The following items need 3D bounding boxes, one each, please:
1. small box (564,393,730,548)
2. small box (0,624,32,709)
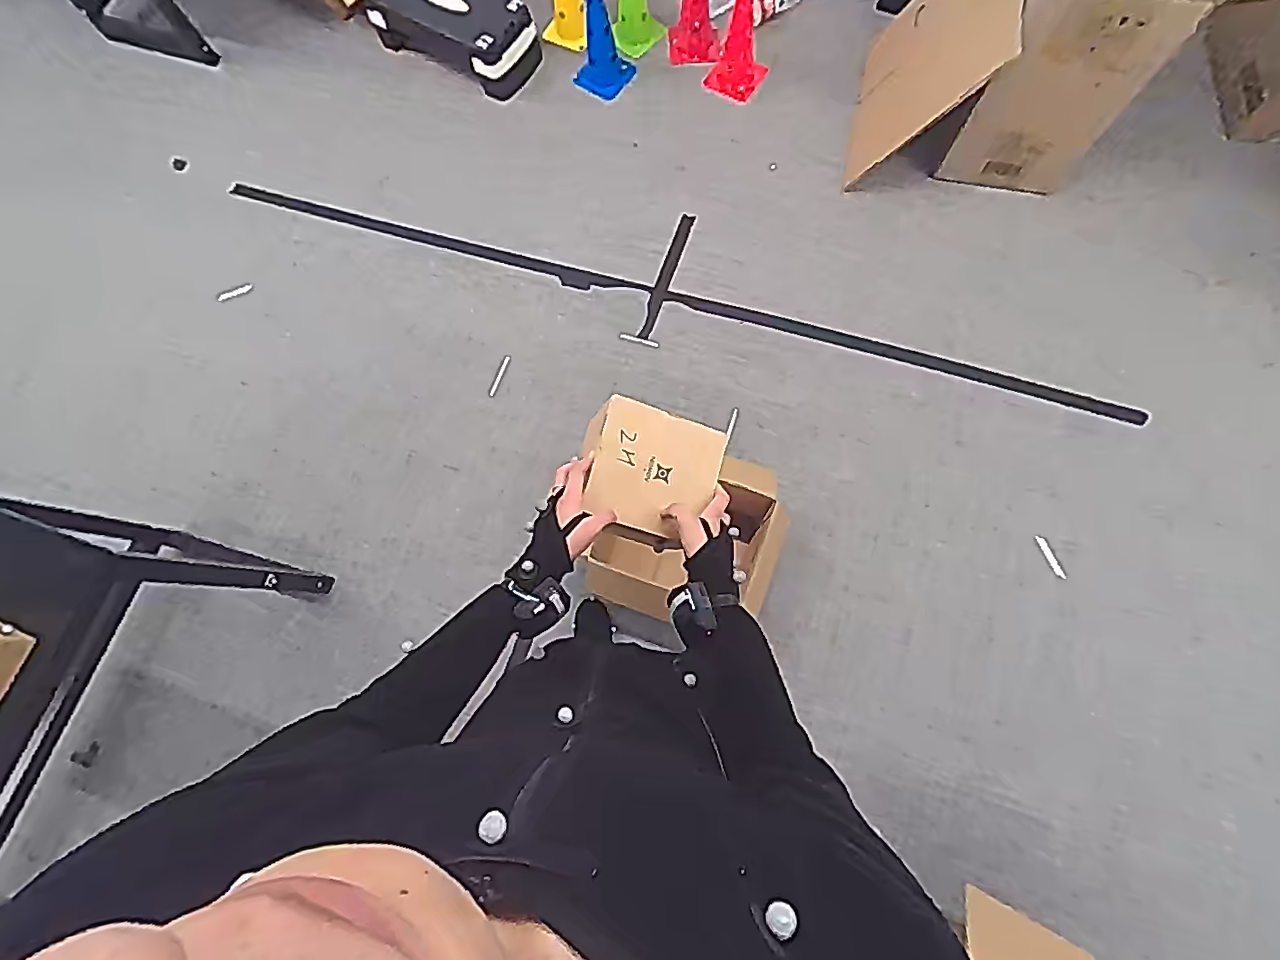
[{"bbox_3d":[0.003,-0.004,0.785,0.179,0.176,0.168,18,78,-12],"label":"small box"},{"bbox_3d":[-1.176,0.318,0.881,0.168,0.176,0.179,19,79,9],"label":"small box"}]
